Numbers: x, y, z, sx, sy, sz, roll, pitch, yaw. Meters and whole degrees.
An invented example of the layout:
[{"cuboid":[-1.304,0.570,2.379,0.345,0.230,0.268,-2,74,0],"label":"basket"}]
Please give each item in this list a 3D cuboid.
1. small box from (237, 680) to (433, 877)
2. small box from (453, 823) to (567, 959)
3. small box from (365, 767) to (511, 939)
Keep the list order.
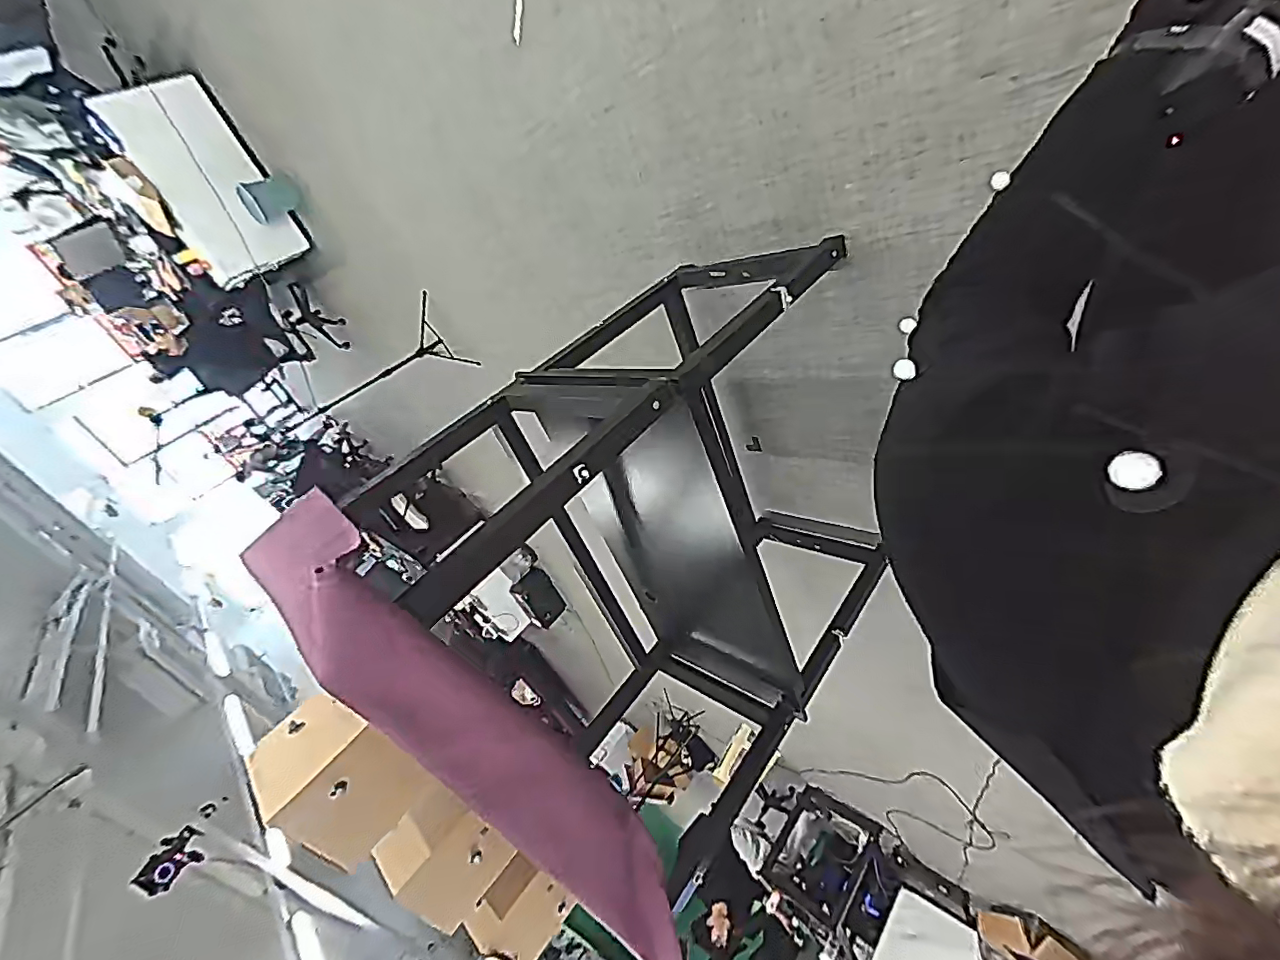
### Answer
[{"cuboid":[-0.458,0.443,0.825,0.168,0.176,0.179,15,140,44],"label":"small box"},{"cuboid":[-0.274,0.861,1.117,0.179,0.176,0.168,11,136,47],"label":"small box"},{"cuboid":[-0.367,0.659,0.981,0.179,0.176,0.168,11,136,47],"label":"small box"}]
